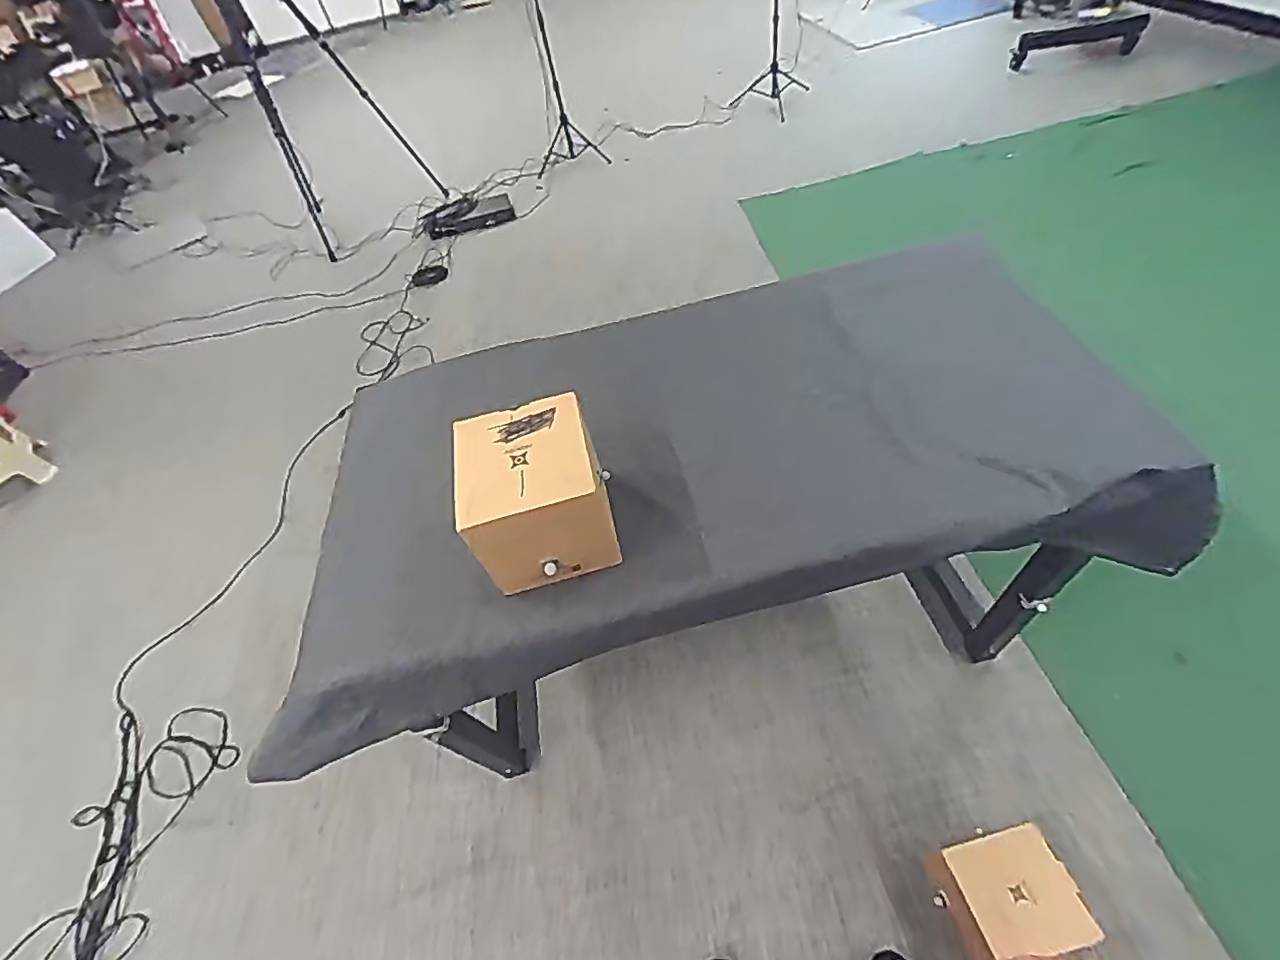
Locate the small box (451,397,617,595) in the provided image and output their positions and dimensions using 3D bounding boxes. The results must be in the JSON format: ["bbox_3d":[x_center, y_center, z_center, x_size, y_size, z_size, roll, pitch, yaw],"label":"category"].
[{"bbox_3d":[-0.136,0.024,0.714,0.168,0.176,0.179,-16,51,-1],"label":"small box"}]

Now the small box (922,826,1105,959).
[{"bbox_3d":[0.632,0.727,0.944,0.179,0.176,0.168,-17,50,-1],"label":"small box"}]
